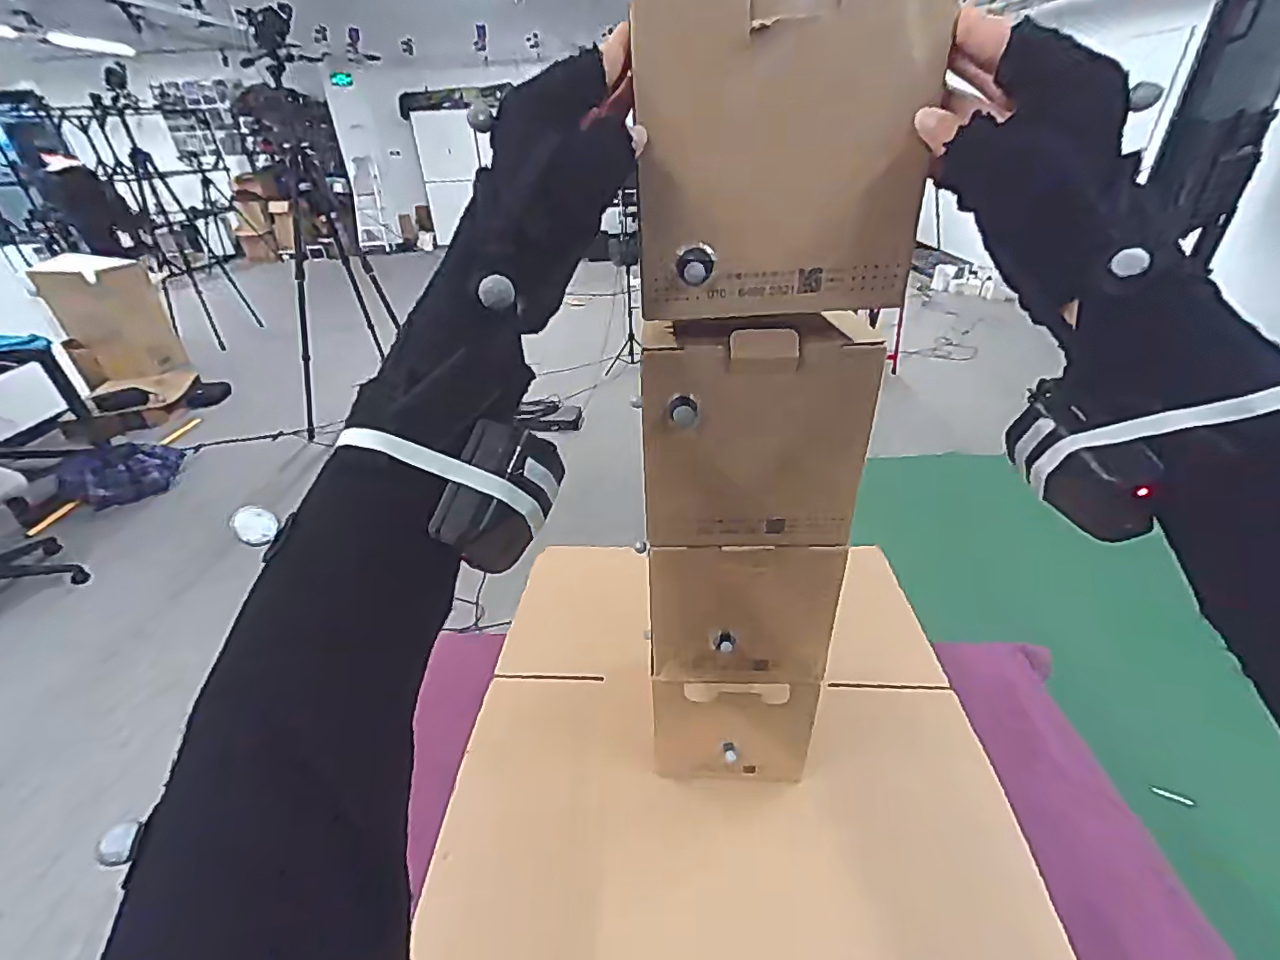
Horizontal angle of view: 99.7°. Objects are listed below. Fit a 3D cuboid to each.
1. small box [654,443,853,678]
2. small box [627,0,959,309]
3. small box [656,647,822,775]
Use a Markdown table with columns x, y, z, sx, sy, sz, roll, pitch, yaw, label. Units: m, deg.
| x | y | z | sx | sy | sz | roll | pitch | yaw | label |
| --- | --- | --- | --- | --- | --- | --- | --- | --- | --- |
| 0.098 | 0.075 | 0.556 | 0.168 | 0.176 | 0.179 | 0 | 32 | 3 | small box |
| 0.081 | -0.220 | 0.370 | 0.168 | 0.176 | 0.179 | -5 | 32 | -2 | small box |
| 0.104 | 0.214 | 0.641 | 0.168 | 0.176 | 0.179 | 0 | 32 | 4 | small box |
